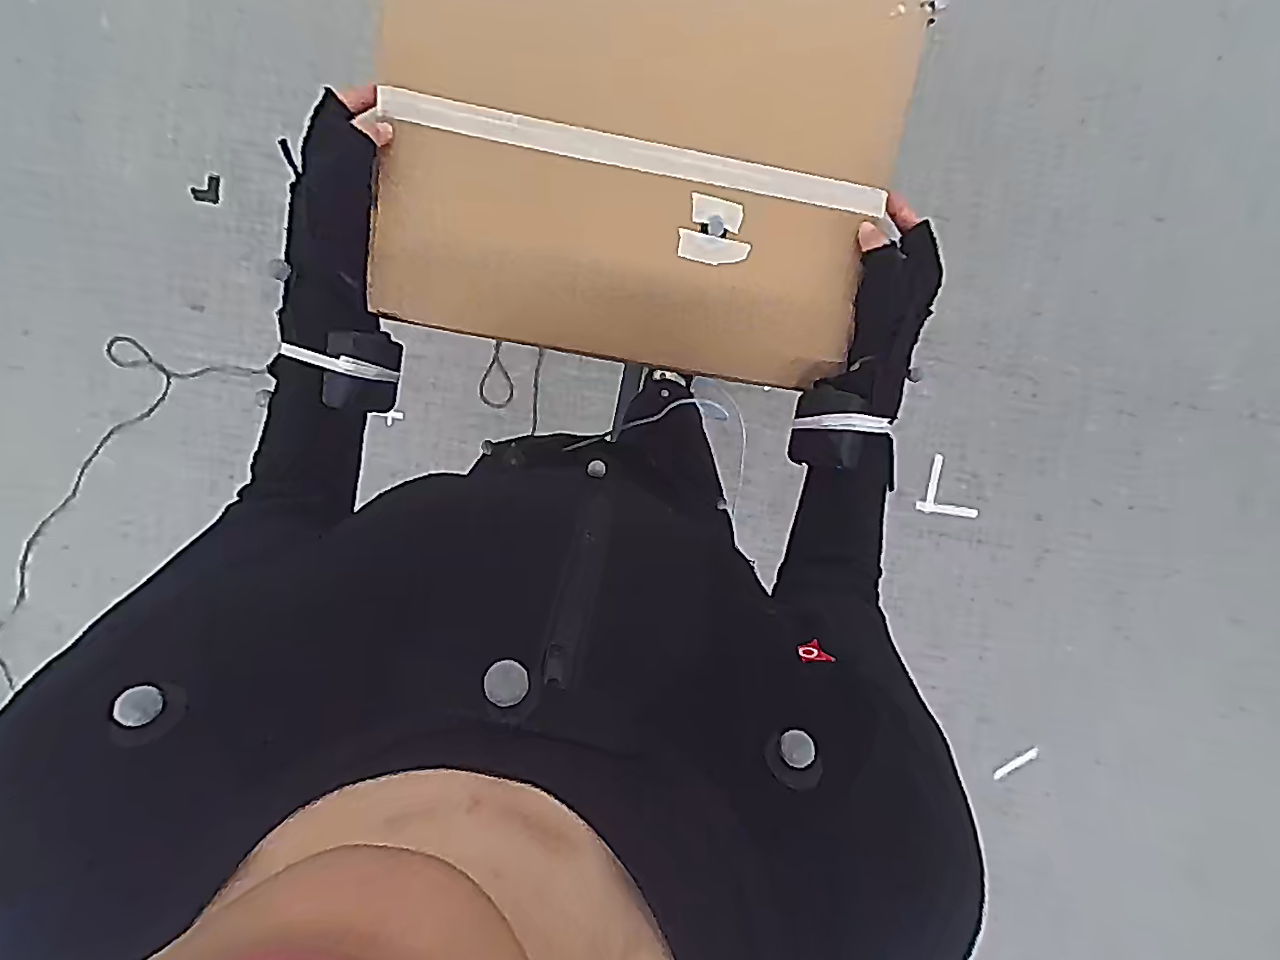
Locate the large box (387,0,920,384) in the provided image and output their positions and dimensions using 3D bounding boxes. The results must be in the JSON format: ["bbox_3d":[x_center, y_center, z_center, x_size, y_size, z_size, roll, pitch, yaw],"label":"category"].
[{"bbox_3d":[-0.006,-0.293,0.585,0.408,0.320,0.320,9,103,-6],"label":"large box"}]
